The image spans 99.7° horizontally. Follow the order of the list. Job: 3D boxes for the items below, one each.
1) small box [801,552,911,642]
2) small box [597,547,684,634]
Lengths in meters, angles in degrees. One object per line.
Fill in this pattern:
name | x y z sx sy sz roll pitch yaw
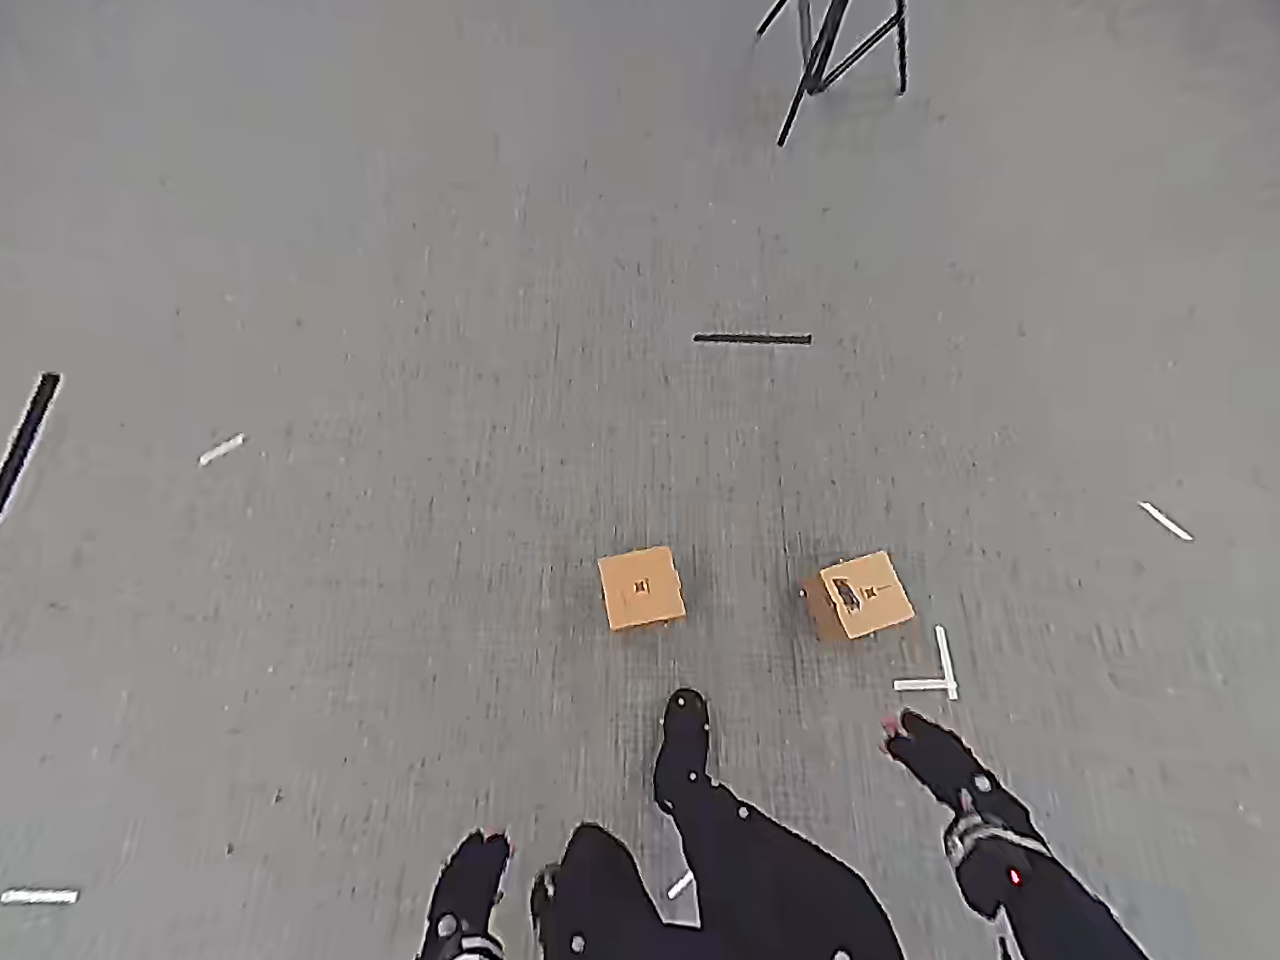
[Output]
small box | 0.514 0.293 1.326 0.179 0.176 0.168 -15 72 -8
small box | -0.003 0.272 1.311 0.179 0.176 0.168 -11 71 -5
